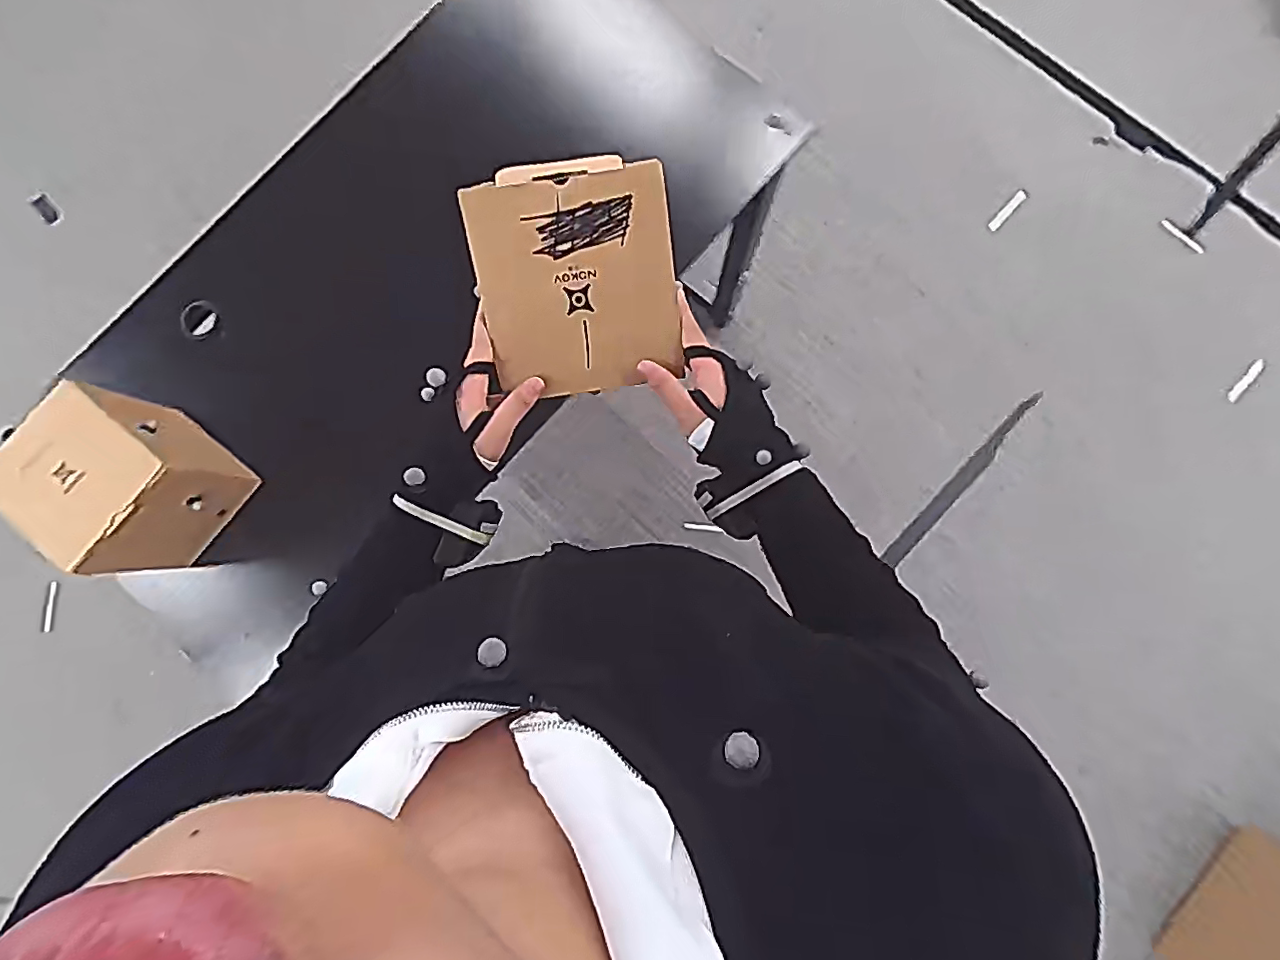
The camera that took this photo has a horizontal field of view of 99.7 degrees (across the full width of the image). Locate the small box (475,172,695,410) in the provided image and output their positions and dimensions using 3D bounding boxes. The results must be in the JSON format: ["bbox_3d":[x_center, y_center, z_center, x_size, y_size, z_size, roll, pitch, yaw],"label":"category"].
[{"bbox_3d":[-0.046,-0.175,0.527,0.168,0.176,0.179,-8,107,0],"label":"small box"}]

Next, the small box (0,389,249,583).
[{"bbox_3d":[-0.676,0.013,0.708,0.179,0.176,0.168,37,84,6],"label":"small box"}]
